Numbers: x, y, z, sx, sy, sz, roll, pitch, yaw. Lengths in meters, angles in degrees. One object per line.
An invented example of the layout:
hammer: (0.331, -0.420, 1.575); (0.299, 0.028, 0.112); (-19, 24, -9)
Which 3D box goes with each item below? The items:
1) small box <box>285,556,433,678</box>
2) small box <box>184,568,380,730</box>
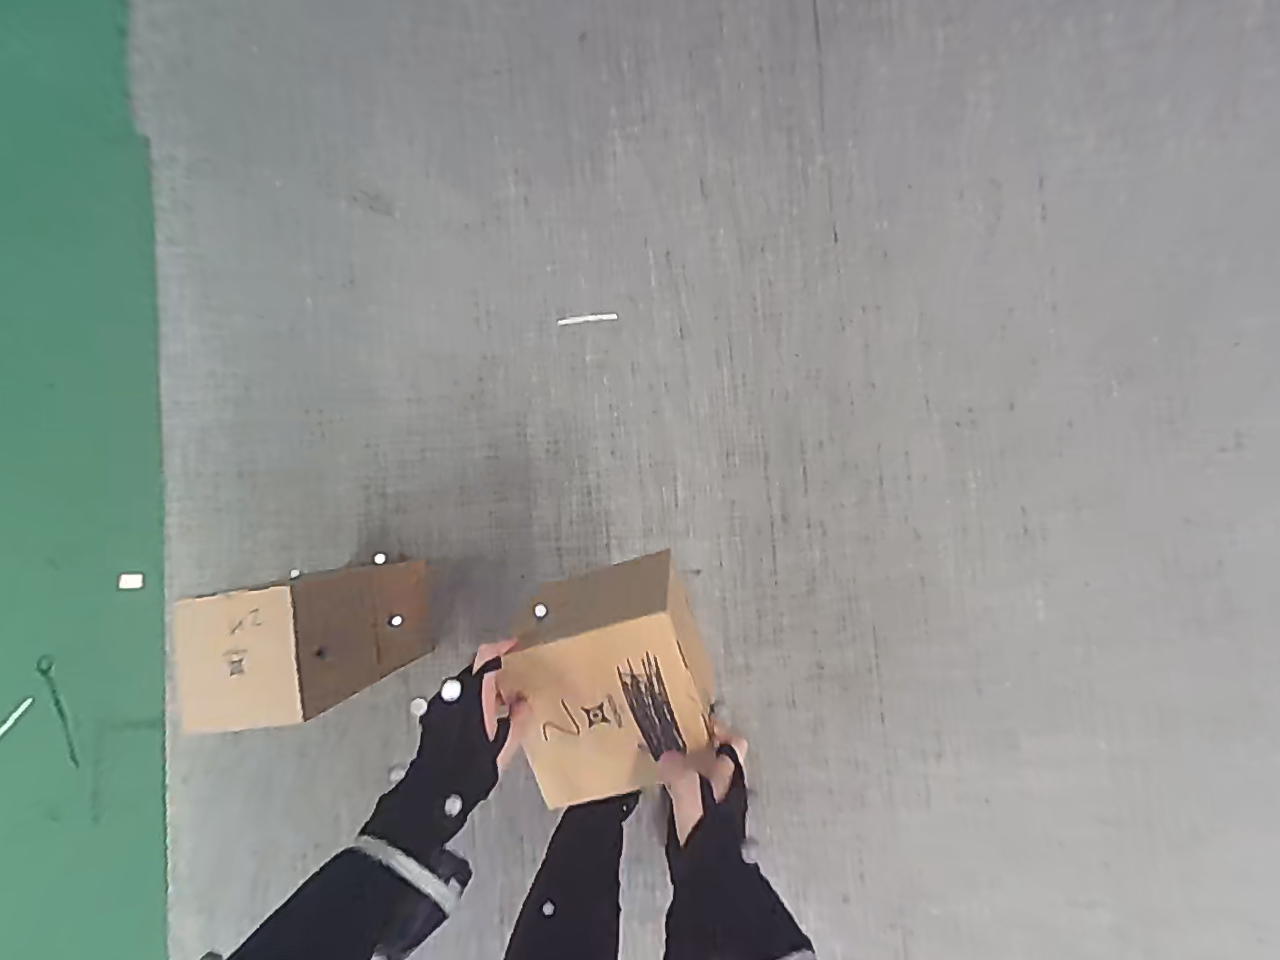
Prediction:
small box: (-0.476, 0.234, 0.939); (0.168, 0.176, 0.179); (-6, 87, 6)
small box: (-0.498, 0.232, 0.775); (0.168, 0.176, 0.179); (-8, 87, 6)
